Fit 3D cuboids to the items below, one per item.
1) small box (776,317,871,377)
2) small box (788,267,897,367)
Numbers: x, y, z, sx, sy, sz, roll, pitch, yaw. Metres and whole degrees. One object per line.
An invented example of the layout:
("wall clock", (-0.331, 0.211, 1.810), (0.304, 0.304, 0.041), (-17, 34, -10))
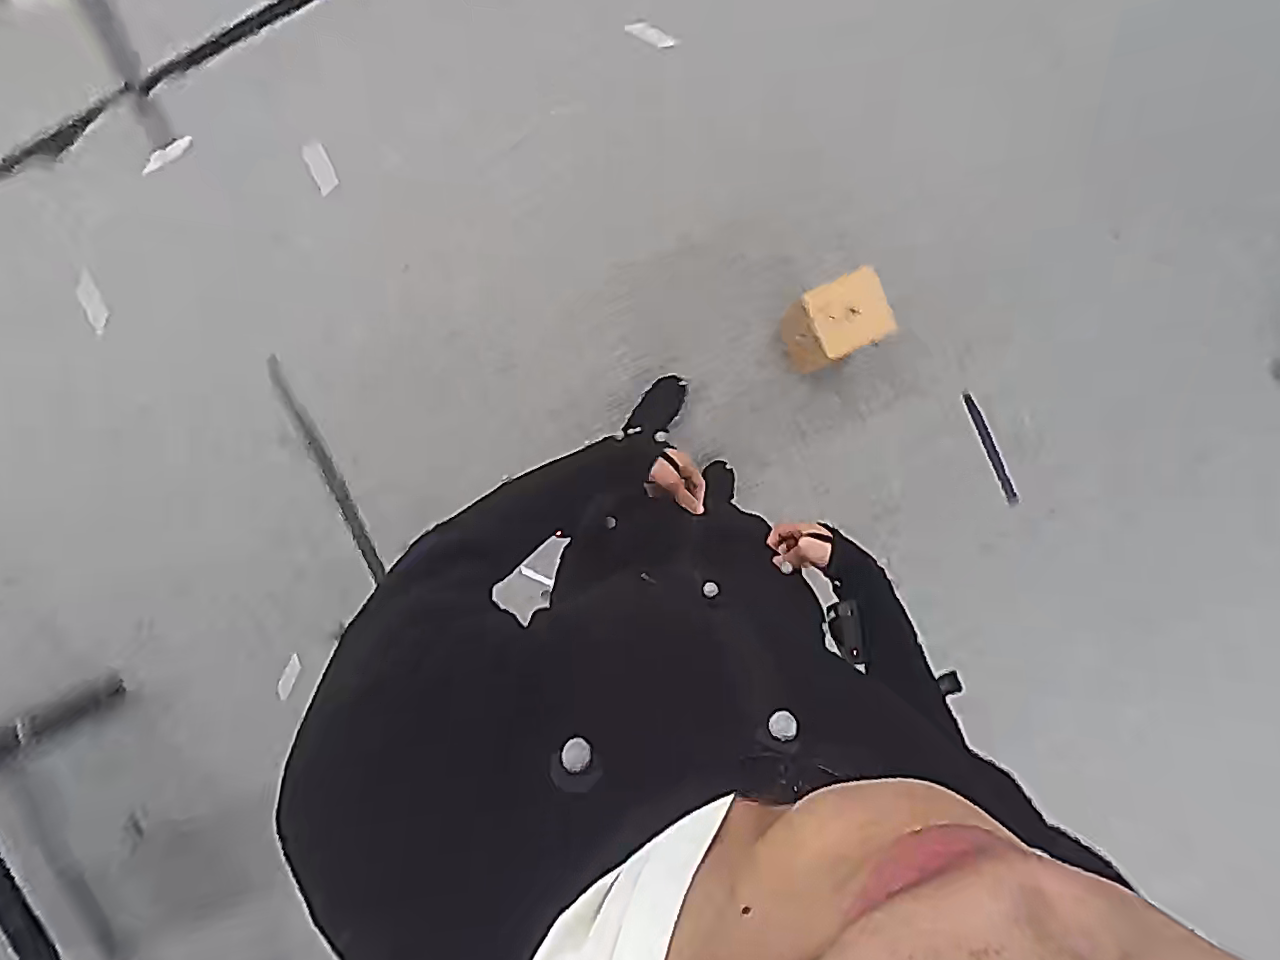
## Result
("small box", (0.500, -0.399, 1.492), (0.179, 0.176, 0.168), (-22, 93, 3))
("small box", (0.489, -0.392, 1.329), (0.179, 0.176, 0.168), (-22, 93, 4))
